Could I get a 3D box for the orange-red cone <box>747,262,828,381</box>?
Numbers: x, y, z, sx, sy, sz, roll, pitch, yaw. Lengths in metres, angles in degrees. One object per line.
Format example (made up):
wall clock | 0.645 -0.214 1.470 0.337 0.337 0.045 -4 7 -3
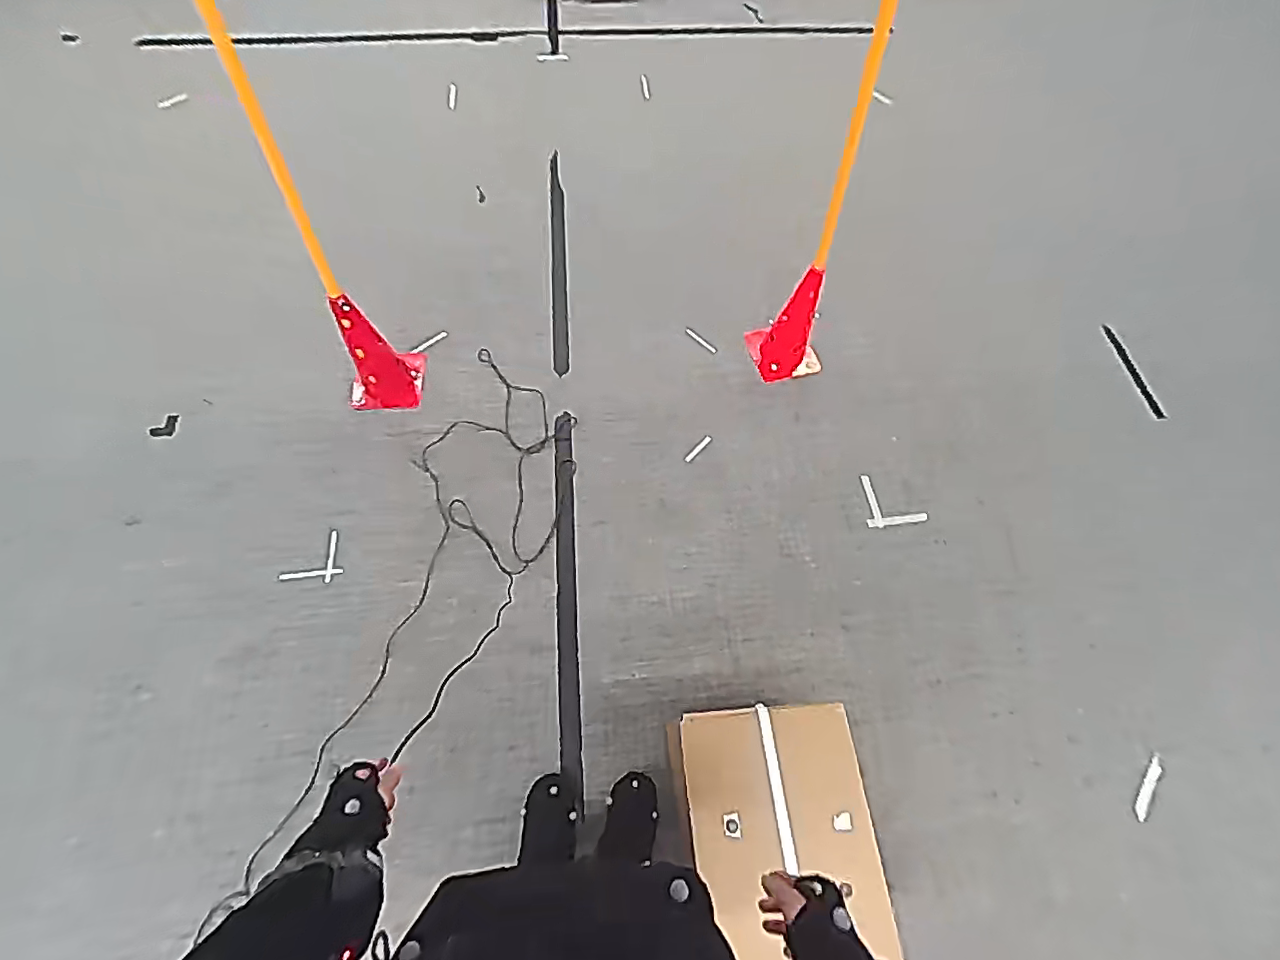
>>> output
orange-red cone | 0.461 -0.477 1.552 0.199 0.360 0.198 -11 67 -9
